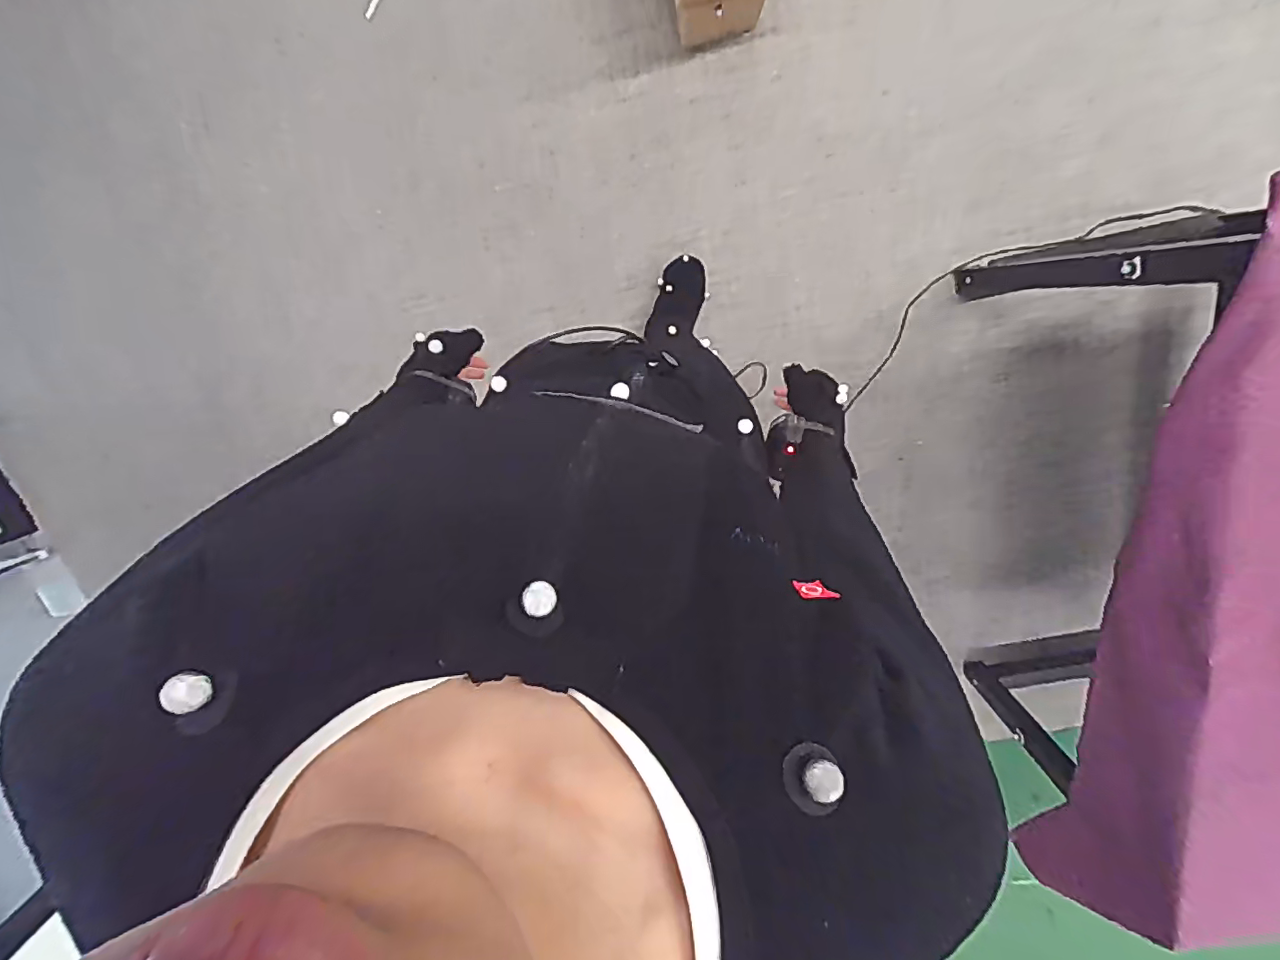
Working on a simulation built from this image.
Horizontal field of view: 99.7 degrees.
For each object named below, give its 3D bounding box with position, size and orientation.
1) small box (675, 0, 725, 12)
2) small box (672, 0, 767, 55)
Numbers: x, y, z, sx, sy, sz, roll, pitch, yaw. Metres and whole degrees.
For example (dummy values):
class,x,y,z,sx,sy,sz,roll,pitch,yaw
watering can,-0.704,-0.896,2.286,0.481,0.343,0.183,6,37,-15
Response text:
class,x,y,z,sx,sy,sz,roll,pitch,yaw
small box,0.131,-0.957,0.926,0.179,0.176,0.168,-13,107,6
small box,0.149,-1.006,1.081,0.168,0.176,0.179,-13,106,6
